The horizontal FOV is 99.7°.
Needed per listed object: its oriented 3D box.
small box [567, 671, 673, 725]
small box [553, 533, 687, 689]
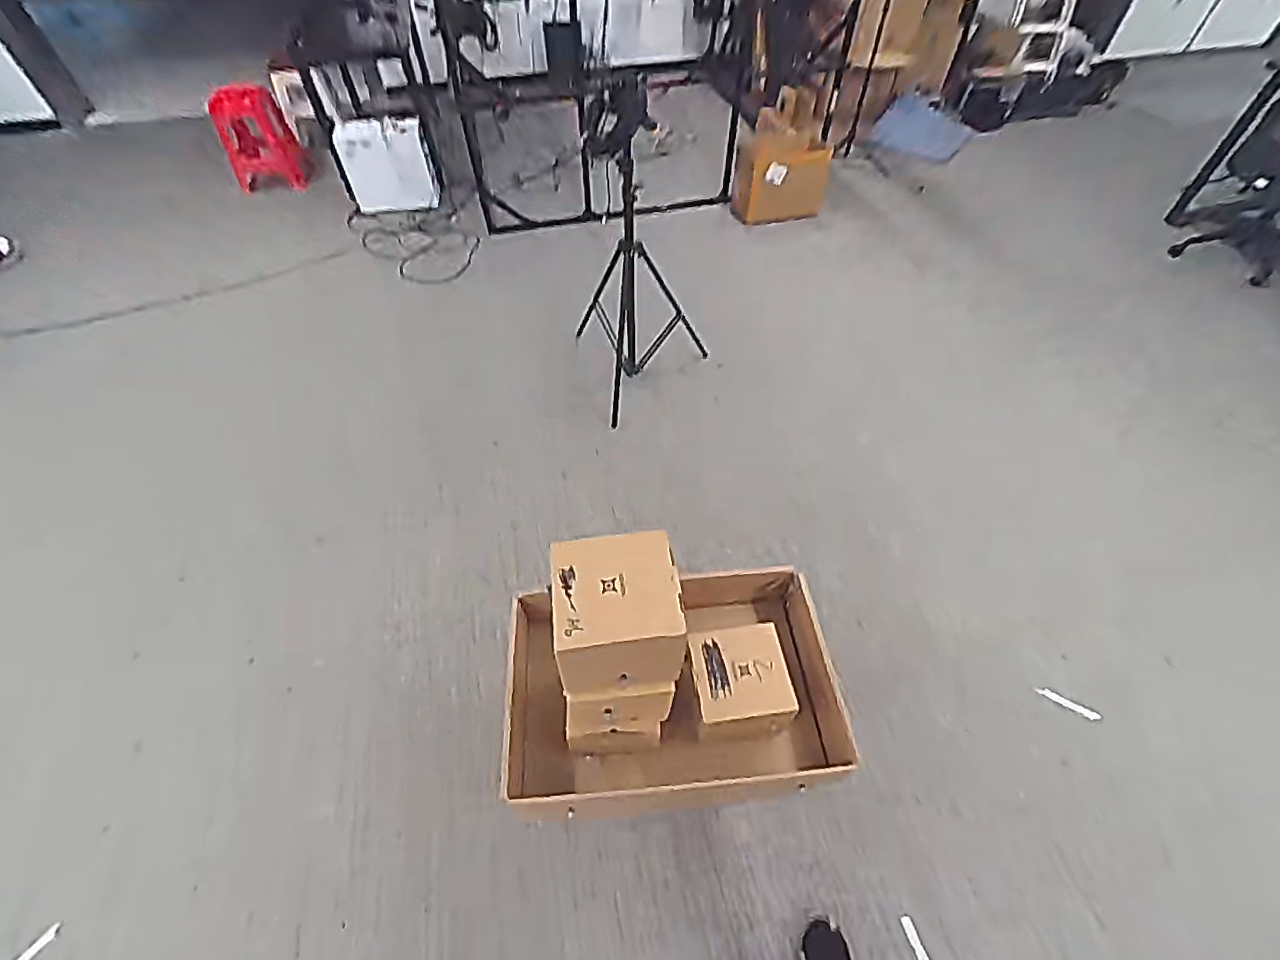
[{"bbox_3d":[-0.038,0.308,0.930,0.168,0.176,0.179,-4,51,-5],"label":"small box"},{"bbox_3d":[-0.036,0.198,0.809,0.179,0.176,0.168,-5,51,-6],"label":"small box"}]
